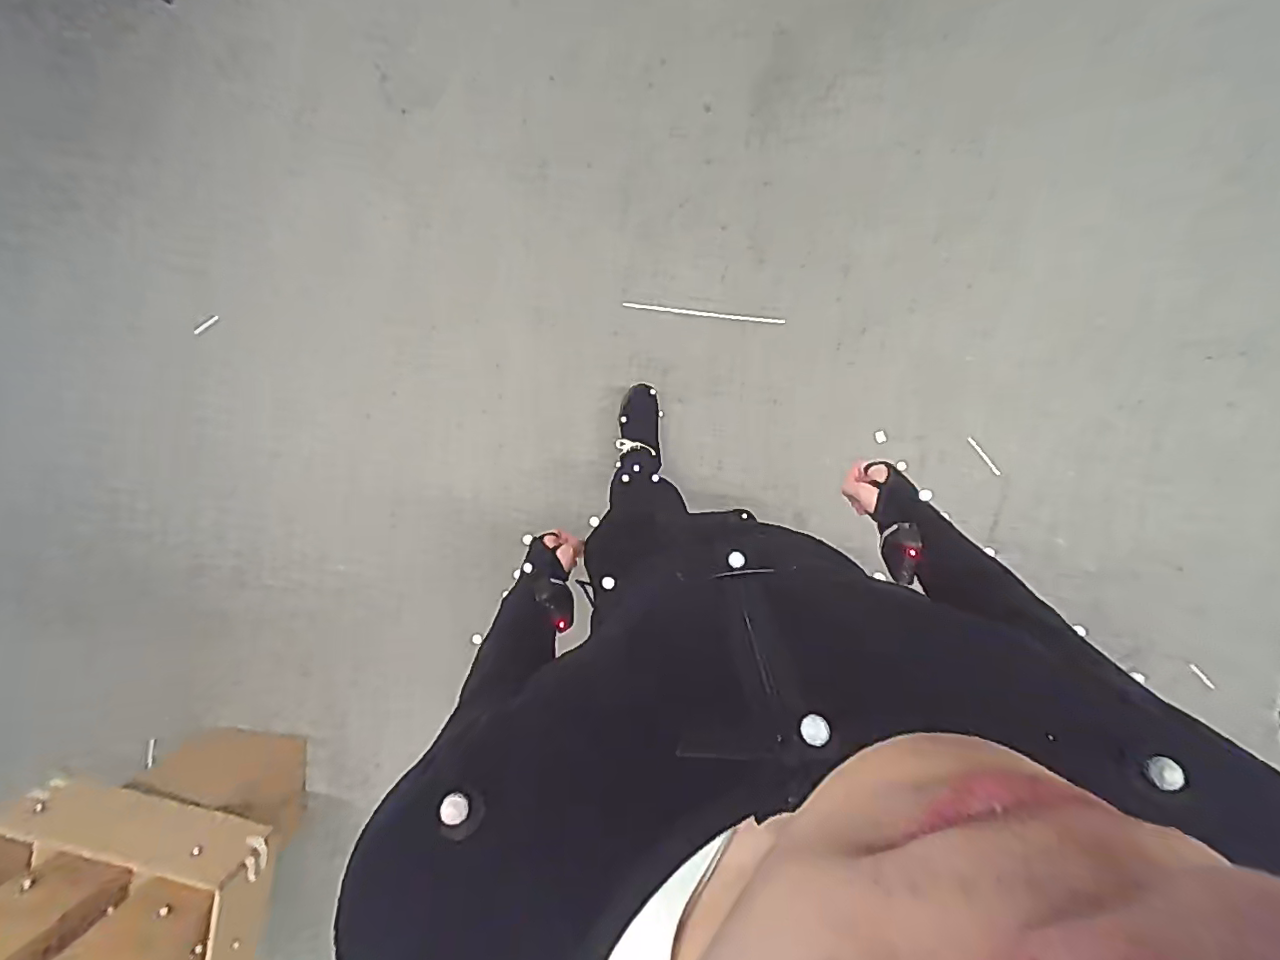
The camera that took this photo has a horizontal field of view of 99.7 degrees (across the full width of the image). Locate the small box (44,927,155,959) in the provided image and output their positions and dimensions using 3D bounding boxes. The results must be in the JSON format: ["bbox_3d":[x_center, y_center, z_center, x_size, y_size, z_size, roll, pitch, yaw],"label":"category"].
[{"bbox_3d":[-1.128,1.048,1.077,0.179,0.176,0.168,12,93,4],"label":"small box"}]

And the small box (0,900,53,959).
[{"bbox_3d":[-1.371,0.995,1.093,0.179,0.176,0.168,10,92,1],"label":"small box"}]

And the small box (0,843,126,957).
[{"bbox_3d":[-1.367,0.987,1.255,0.179,0.176,0.168,11,94,1],"label":"small box"}]
